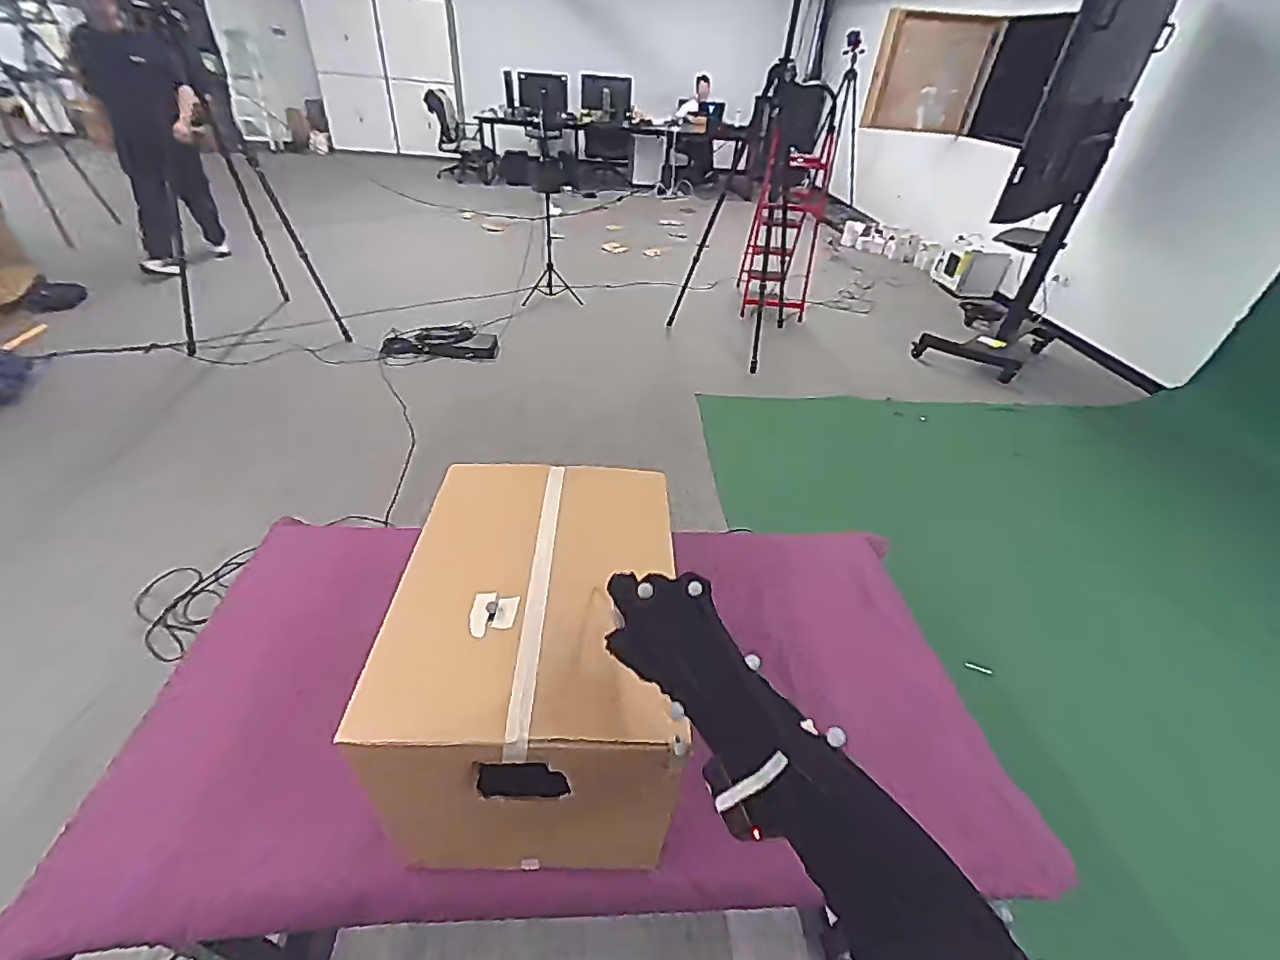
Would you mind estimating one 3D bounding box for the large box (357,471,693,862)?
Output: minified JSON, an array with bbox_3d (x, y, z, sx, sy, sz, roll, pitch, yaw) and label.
[{"bbox_3d":[-0.124,0.235,0.736,0.320,0.320,0.408,3,38,-4],"label":"large box"}]
